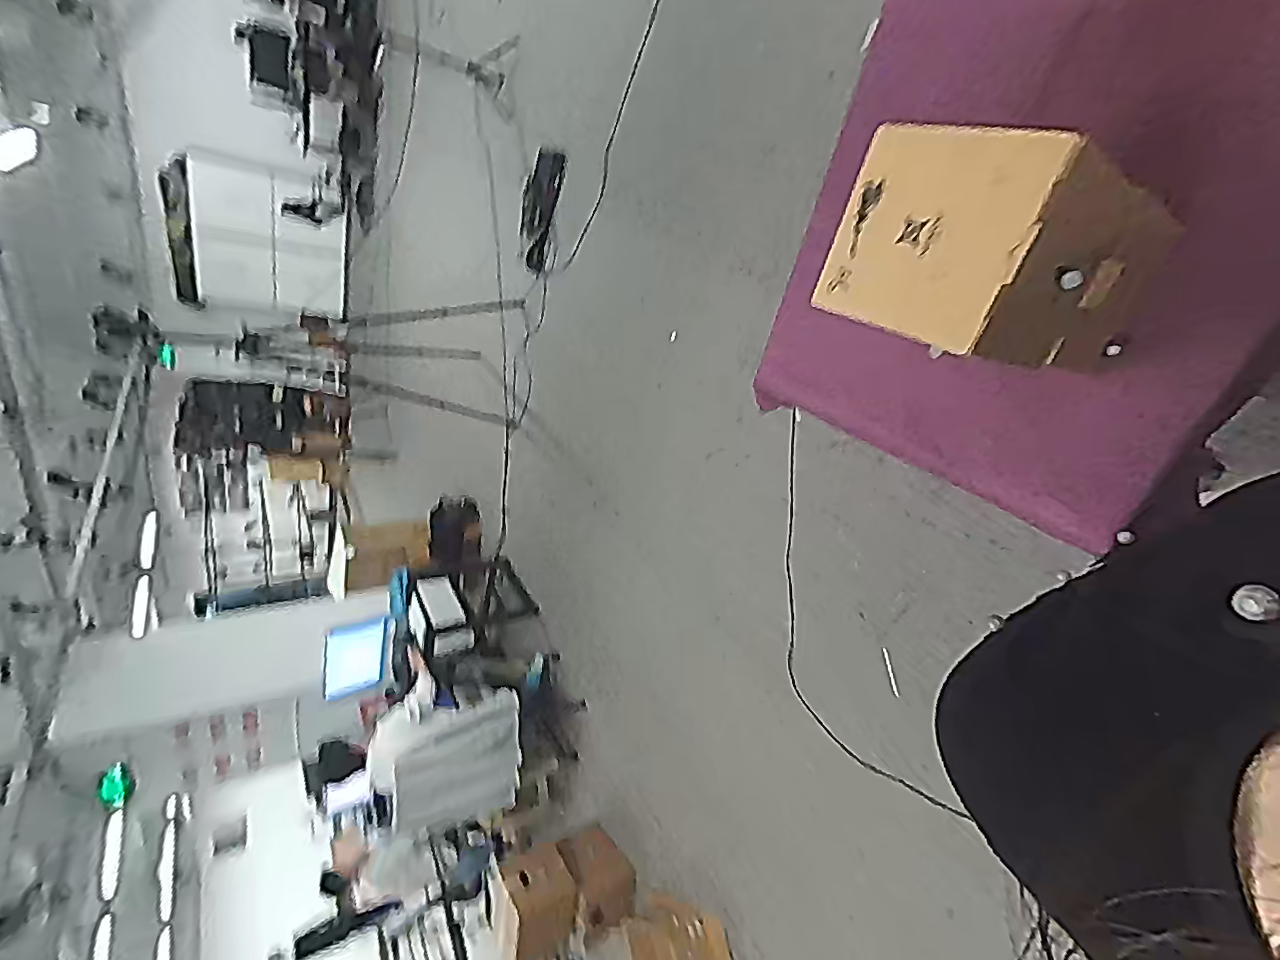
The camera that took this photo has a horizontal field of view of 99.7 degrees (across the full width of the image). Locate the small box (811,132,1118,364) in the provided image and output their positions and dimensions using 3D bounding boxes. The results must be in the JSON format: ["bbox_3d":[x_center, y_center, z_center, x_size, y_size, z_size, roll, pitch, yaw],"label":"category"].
[{"bbox_3d":[0.312,-0.220,0.532,0.179,0.176,0.168,41,125,43],"label":"small box"}]

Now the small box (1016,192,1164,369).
[{"bbox_3d":[0.446,-0.232,0.627,0.179,0.176,0.168,40,124,45],"label":"small box"}]
